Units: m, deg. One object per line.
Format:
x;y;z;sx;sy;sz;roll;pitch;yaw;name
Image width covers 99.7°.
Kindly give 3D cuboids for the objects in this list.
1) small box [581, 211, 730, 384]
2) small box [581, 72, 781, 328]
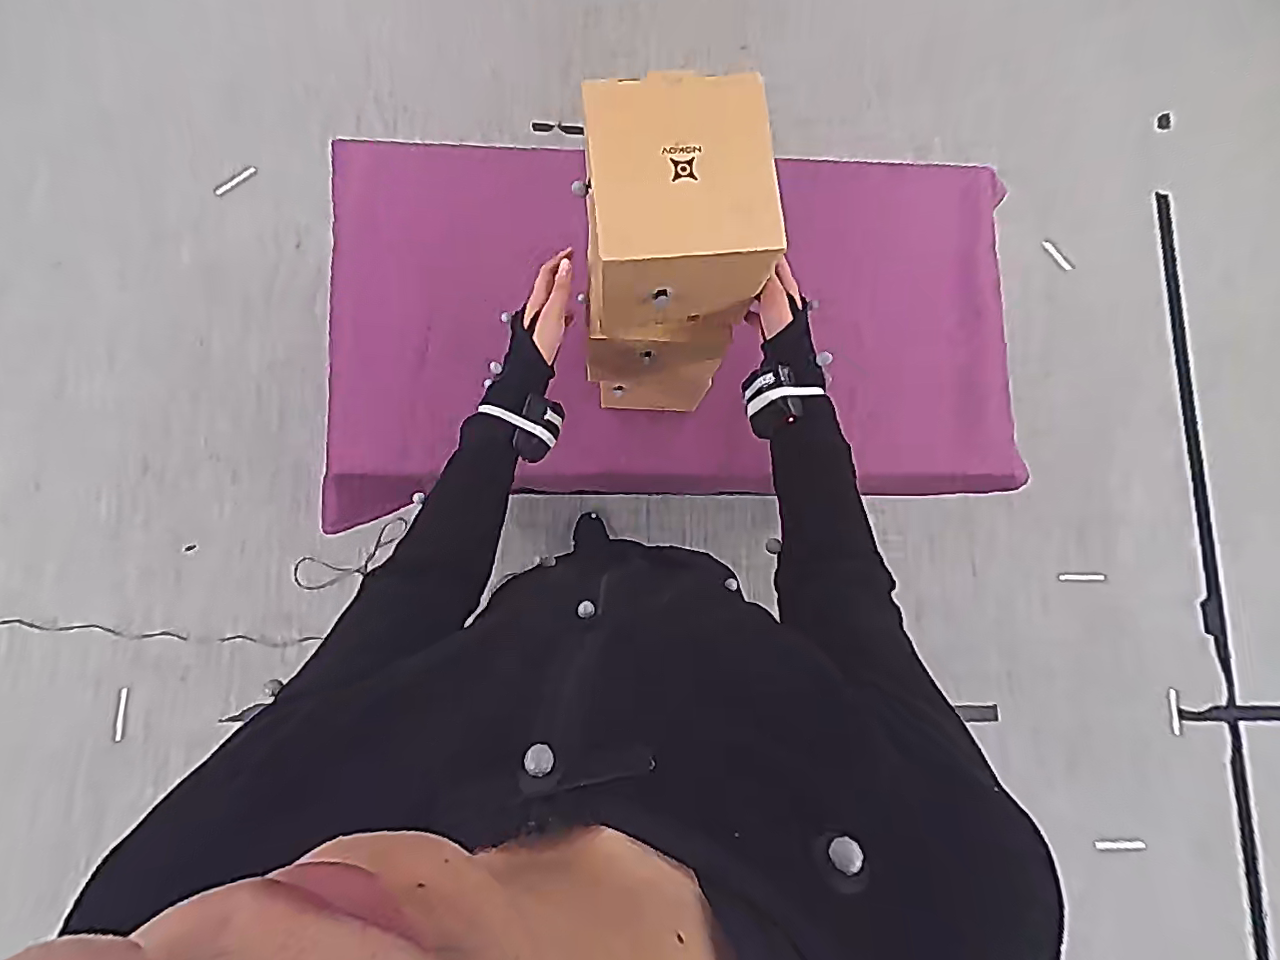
0.018;-0.231;0.716;0.179;0.176;0.168;3;83;-4;small box
0.033;-0.268;0.557;0.168;0.176;0.179;-5;82;-4;small box
